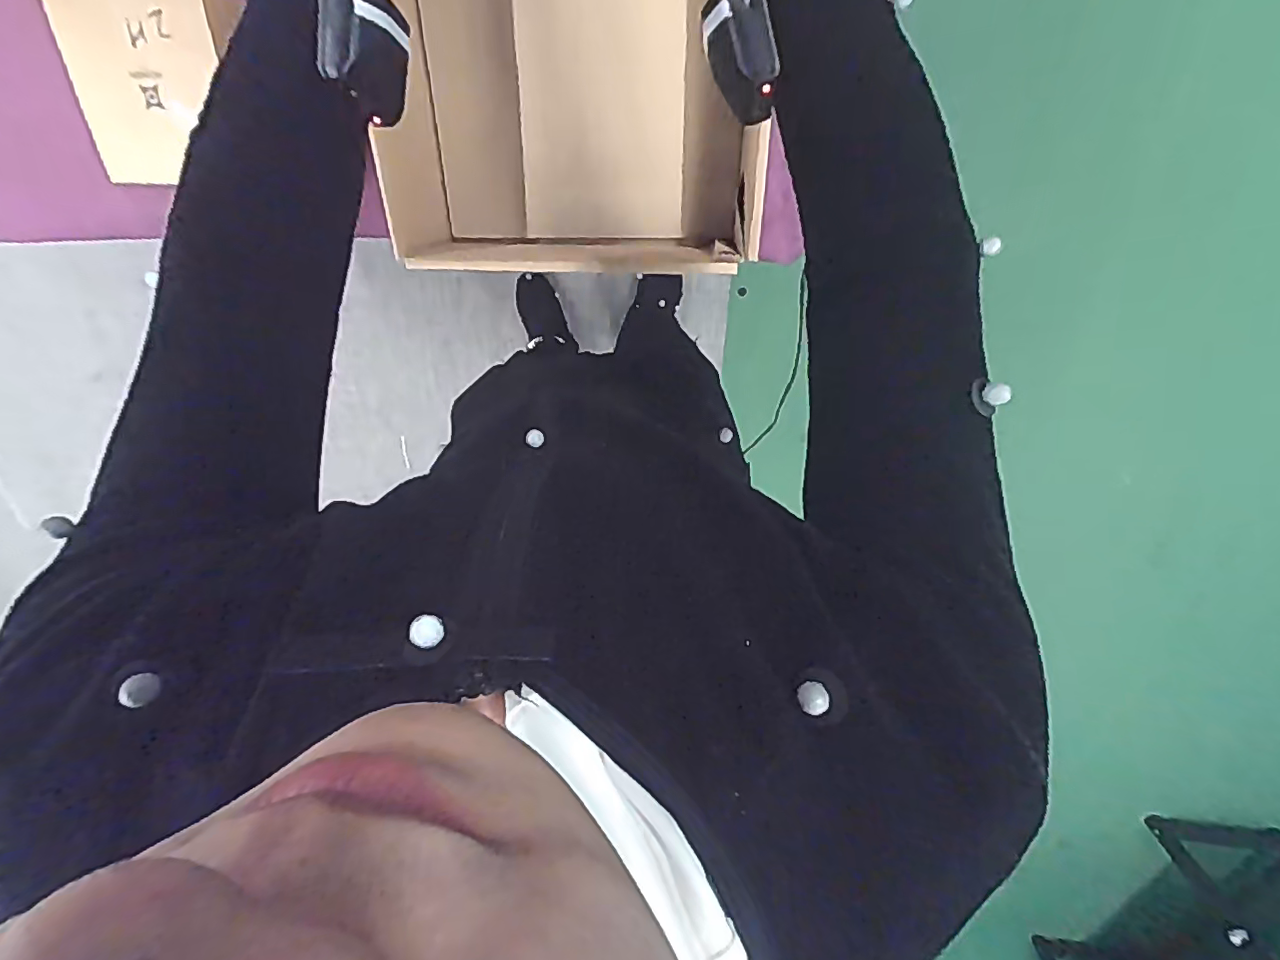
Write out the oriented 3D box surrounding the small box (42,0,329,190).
[{"bbox_3d":[-0.493,-0.436,0.621,0.168,0.176,0.179,3,117,2],"label":"small box"}]
